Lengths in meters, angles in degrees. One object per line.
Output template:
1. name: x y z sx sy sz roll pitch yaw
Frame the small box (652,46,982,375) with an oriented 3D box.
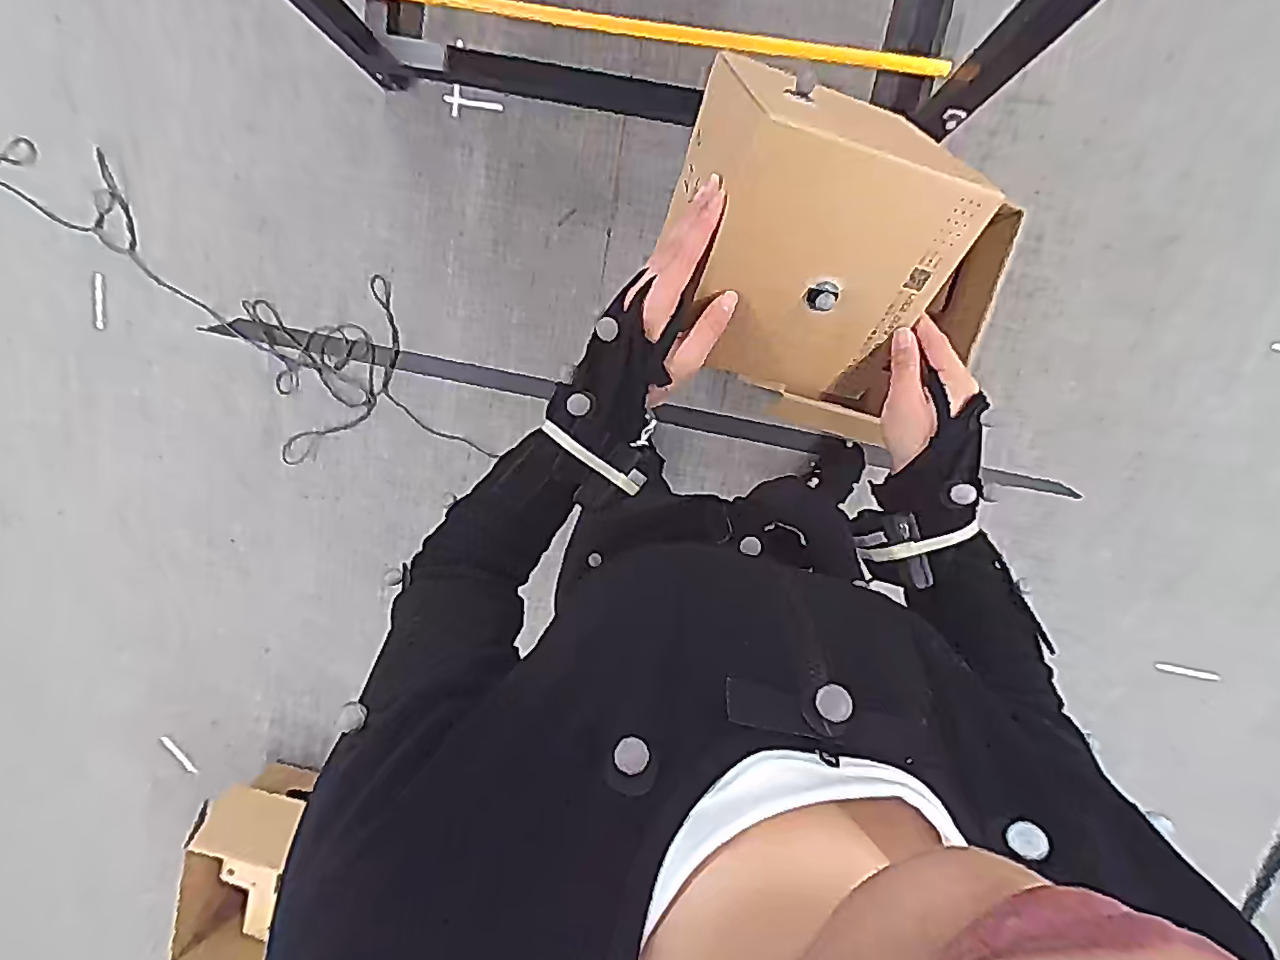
1. small box: 0.118 -0.201 0.427 0.176 0.179 0.168 9 136 -14
